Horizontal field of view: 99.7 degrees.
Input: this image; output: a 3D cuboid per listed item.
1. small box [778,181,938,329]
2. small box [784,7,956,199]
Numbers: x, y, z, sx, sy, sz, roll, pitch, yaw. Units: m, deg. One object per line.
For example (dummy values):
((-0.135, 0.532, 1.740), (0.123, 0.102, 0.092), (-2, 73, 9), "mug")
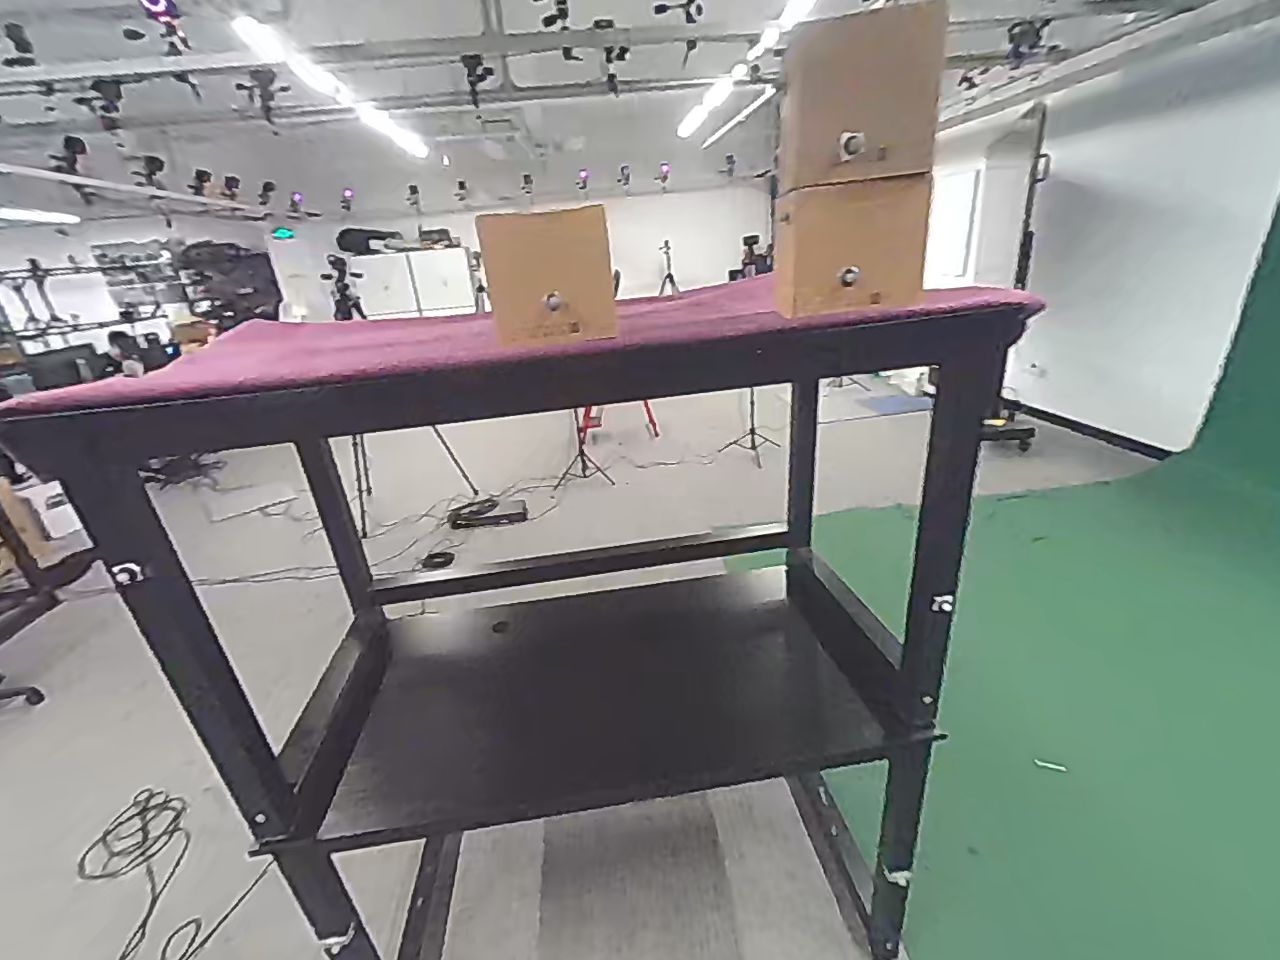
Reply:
((0.290, -0.312, 0.763), (0.168, 0.176, 0.179), (-4, 24, 6), "small box")
((0.276, -0.457, 0.692), (0.168, 0.176, 0.179), (-3, 25, 10), "small box")
